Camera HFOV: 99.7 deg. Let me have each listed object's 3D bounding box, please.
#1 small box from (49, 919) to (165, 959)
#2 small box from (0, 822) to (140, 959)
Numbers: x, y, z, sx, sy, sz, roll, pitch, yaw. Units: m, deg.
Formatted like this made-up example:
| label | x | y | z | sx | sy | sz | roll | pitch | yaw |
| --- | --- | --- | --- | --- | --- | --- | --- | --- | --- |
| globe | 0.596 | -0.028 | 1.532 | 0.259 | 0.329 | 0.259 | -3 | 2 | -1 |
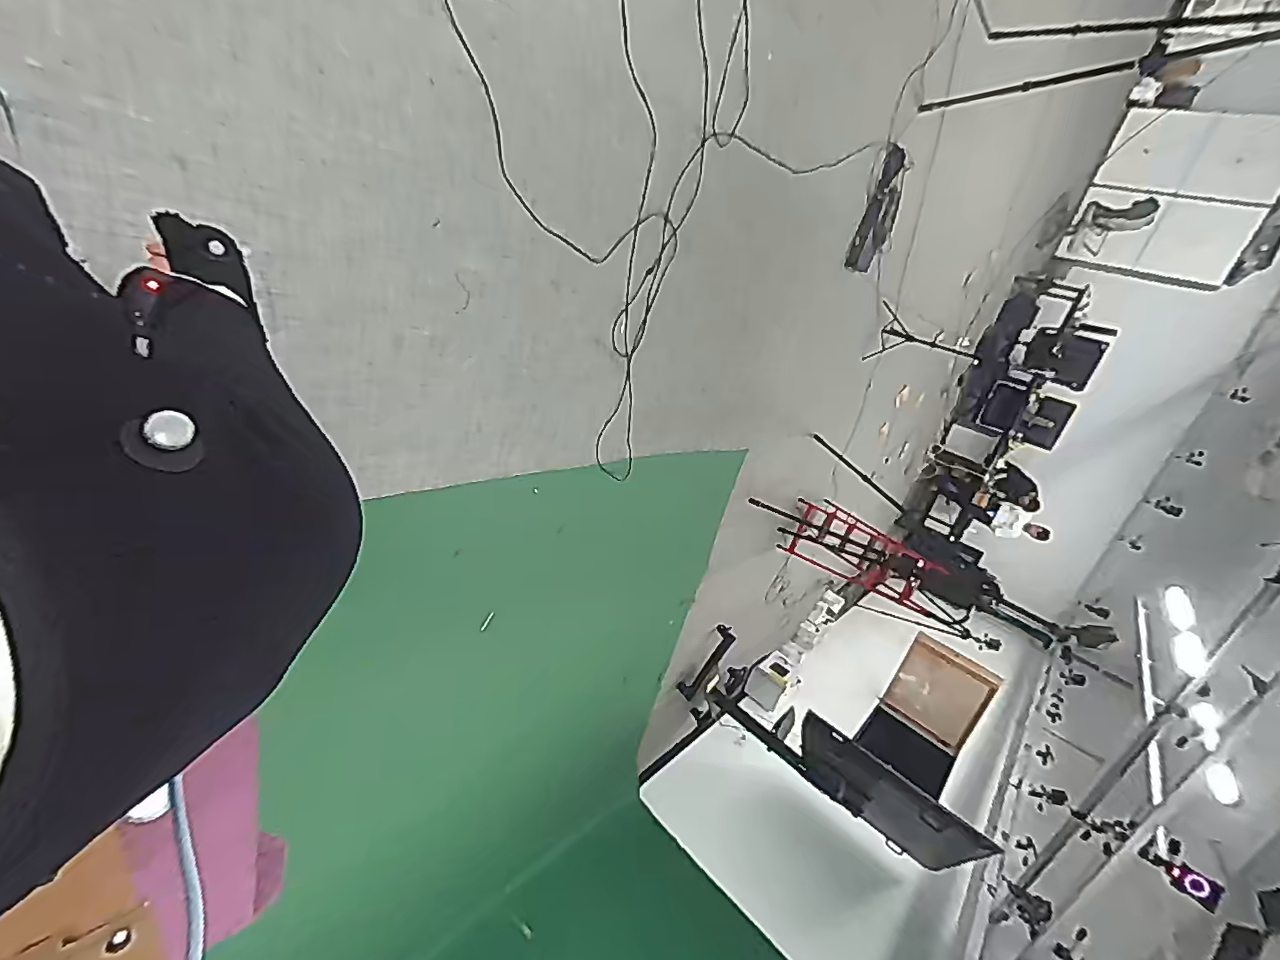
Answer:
| label | x | y | z | sx | sy | sz | roll | pitch | yaw |
| --- | --- | --- | --- | --- | --- | --- | --- | --- | --- |
| small box | -0.638 | 0.654 | 0.607 | 0.168 | 0.176 | 0.179 | -7 | 121 | -49 |
| small box | -0.764 | 0.598 | 0.698 | 0.168 | 0.176 | 0.179 | -13 | 124 | -46 |
